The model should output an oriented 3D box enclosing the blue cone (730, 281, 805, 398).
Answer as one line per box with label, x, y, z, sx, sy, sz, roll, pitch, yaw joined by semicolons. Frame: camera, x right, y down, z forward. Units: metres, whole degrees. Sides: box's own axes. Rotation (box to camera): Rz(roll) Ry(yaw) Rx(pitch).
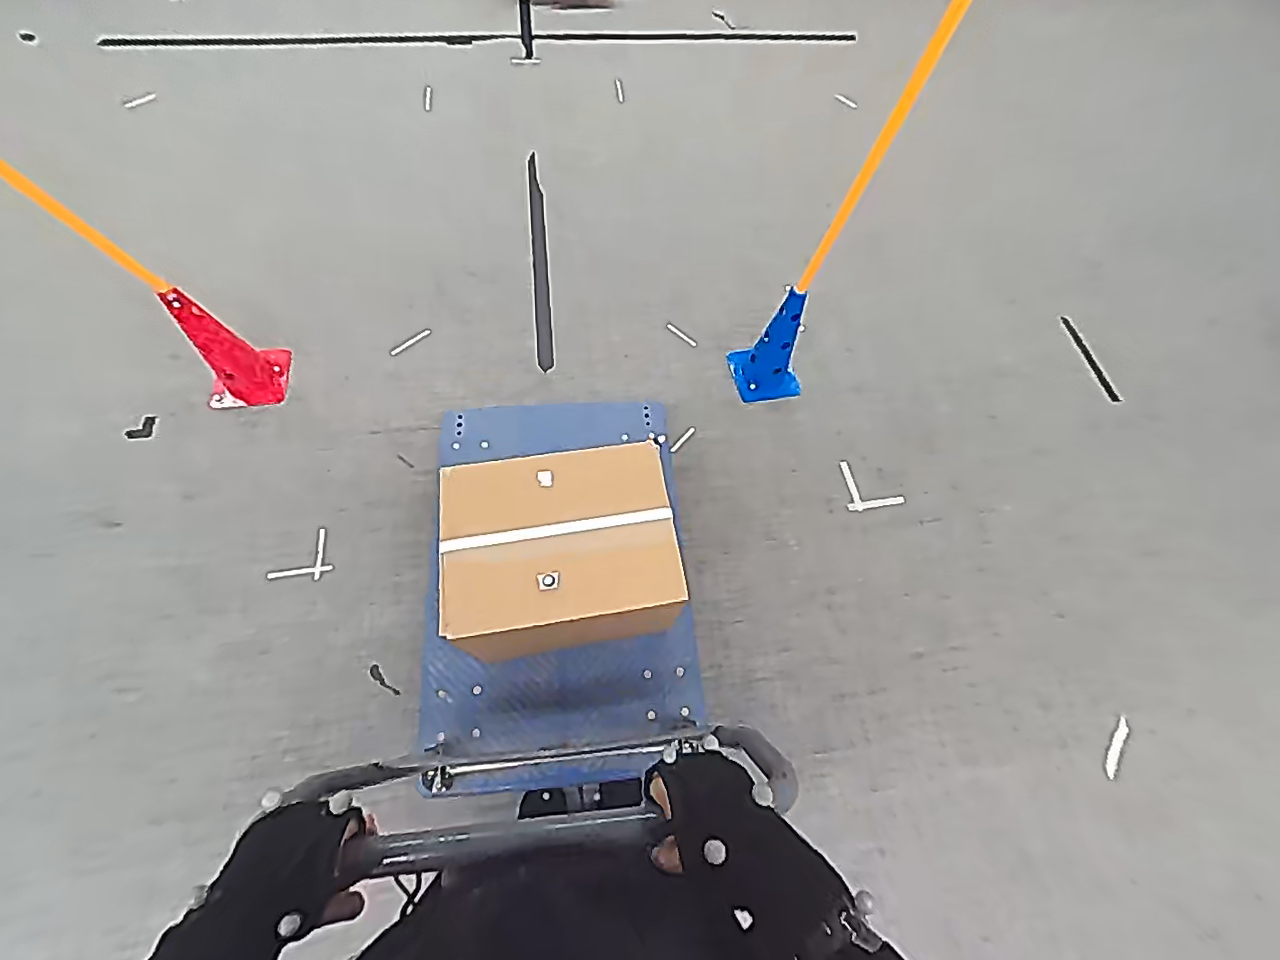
blue cone;0.406;-0.417;1.577;0.193;0.380;0.192;-9;64;-9
